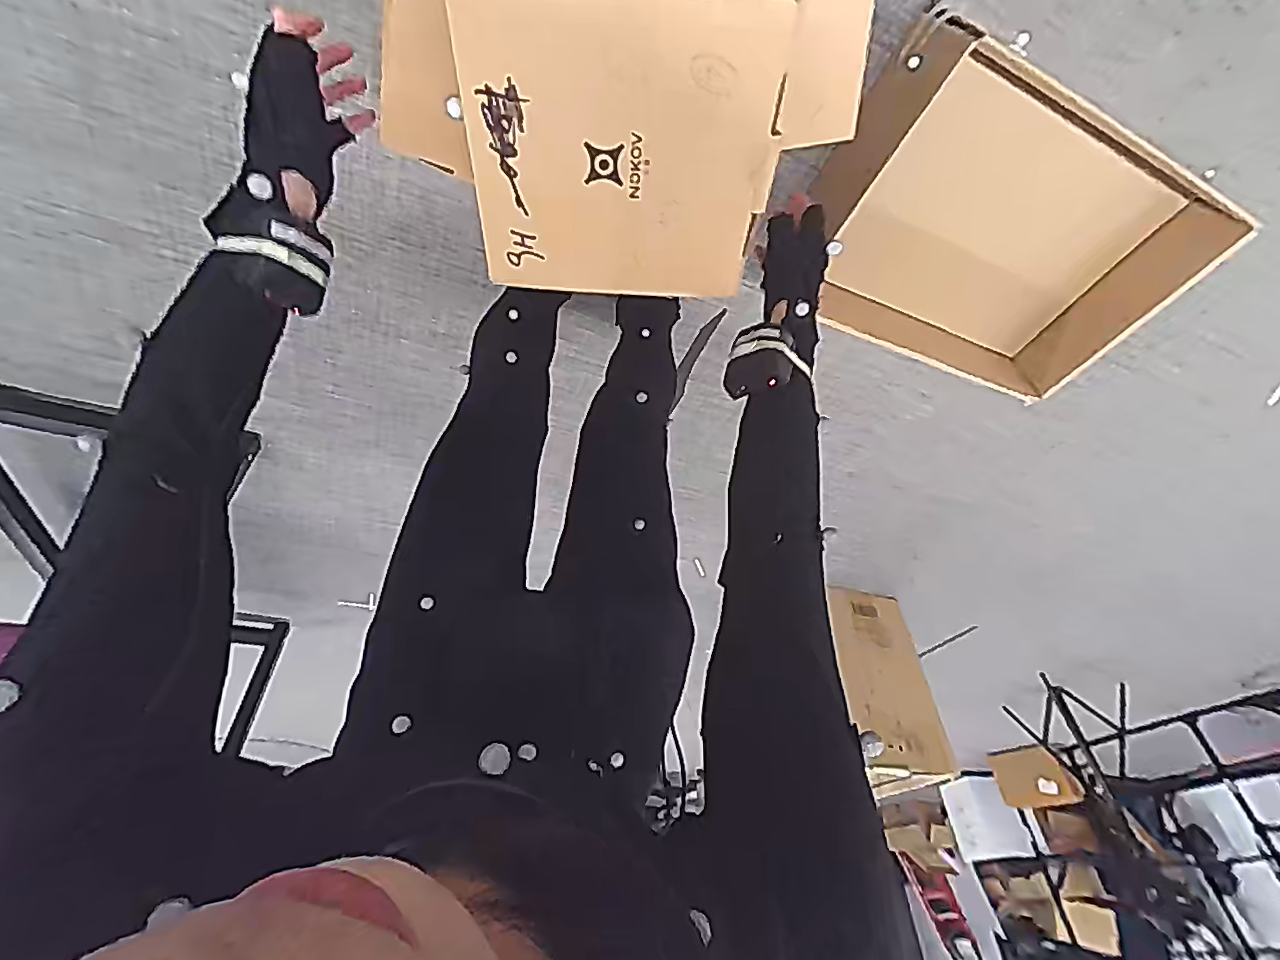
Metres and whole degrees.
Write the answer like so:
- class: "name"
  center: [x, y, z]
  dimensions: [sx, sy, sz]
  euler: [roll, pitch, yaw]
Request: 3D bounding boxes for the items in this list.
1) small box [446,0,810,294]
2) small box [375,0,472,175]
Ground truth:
- class: "small box"
  center: [-0.012, -0.246, 0.360]
  dimensions: [0.179, 0.176, 0.168]
  euler: [2, 140, -4]
- class: "small box"
  center: [-0.114, -0.376, 0.458]
  dimensions: [0.168, 0.176, 0.179]
  euler: [11, 137, -18]
